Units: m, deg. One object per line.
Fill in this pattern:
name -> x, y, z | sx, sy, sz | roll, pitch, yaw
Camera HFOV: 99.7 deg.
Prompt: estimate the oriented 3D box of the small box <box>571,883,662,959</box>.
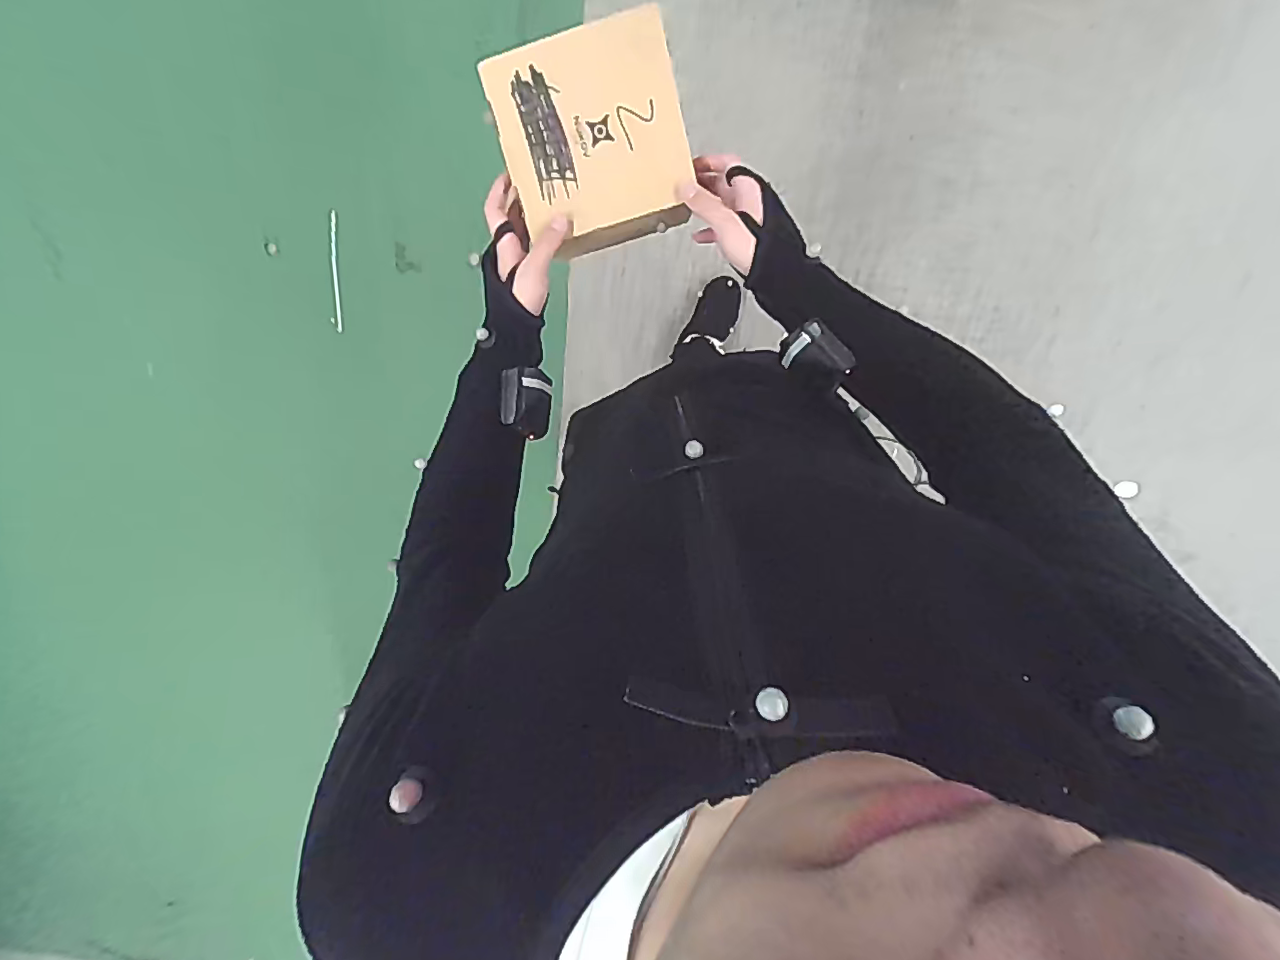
small box -> -0.054, 1.002, 1.147 | 0.179, 0.176, 0.168 | 10, 109, -2
